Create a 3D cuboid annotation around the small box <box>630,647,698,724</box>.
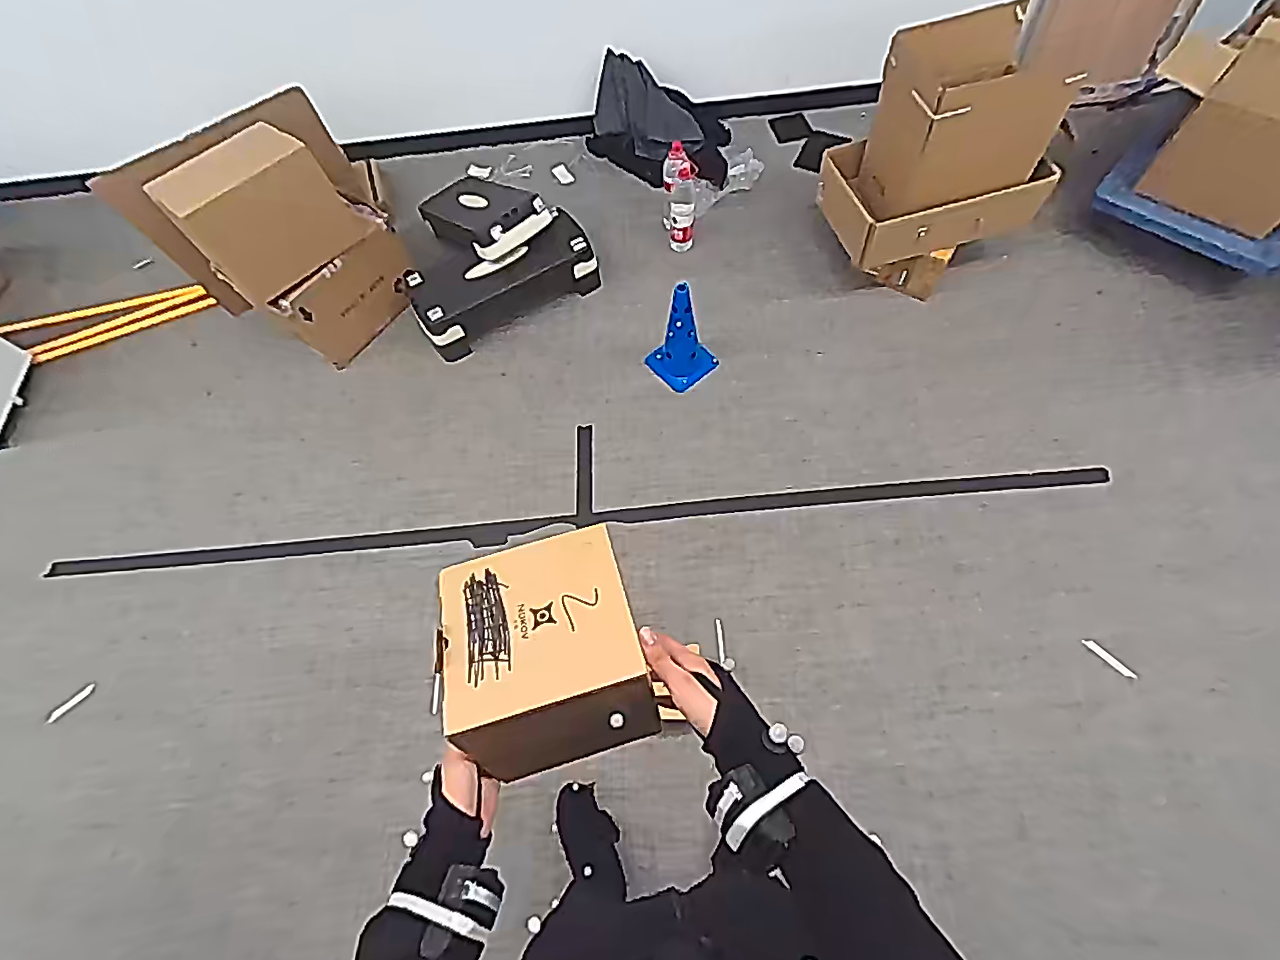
[{"bbox_3d":[0.066,0.533,1.397,0.168,0.176,0.179,-1,64,4],"label":"small box"}]
